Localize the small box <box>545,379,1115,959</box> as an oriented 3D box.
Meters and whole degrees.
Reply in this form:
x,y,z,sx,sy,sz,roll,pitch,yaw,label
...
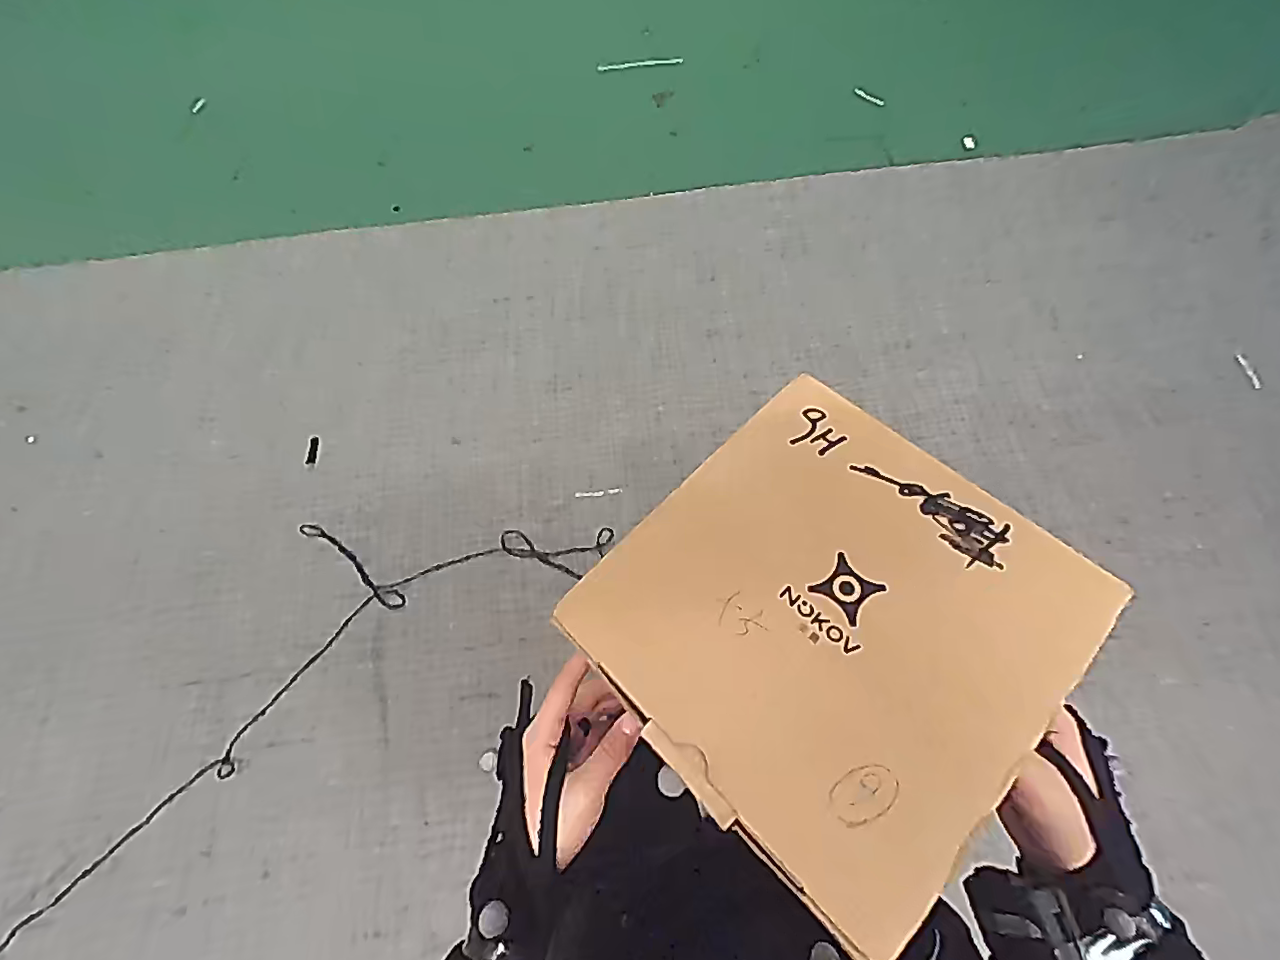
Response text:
x,y,z,sx,sy,sz,roll,pitch,yaw,label
0.082,0.088,0.295,0.179,0.176,0.168,-42,66,-15,small box
